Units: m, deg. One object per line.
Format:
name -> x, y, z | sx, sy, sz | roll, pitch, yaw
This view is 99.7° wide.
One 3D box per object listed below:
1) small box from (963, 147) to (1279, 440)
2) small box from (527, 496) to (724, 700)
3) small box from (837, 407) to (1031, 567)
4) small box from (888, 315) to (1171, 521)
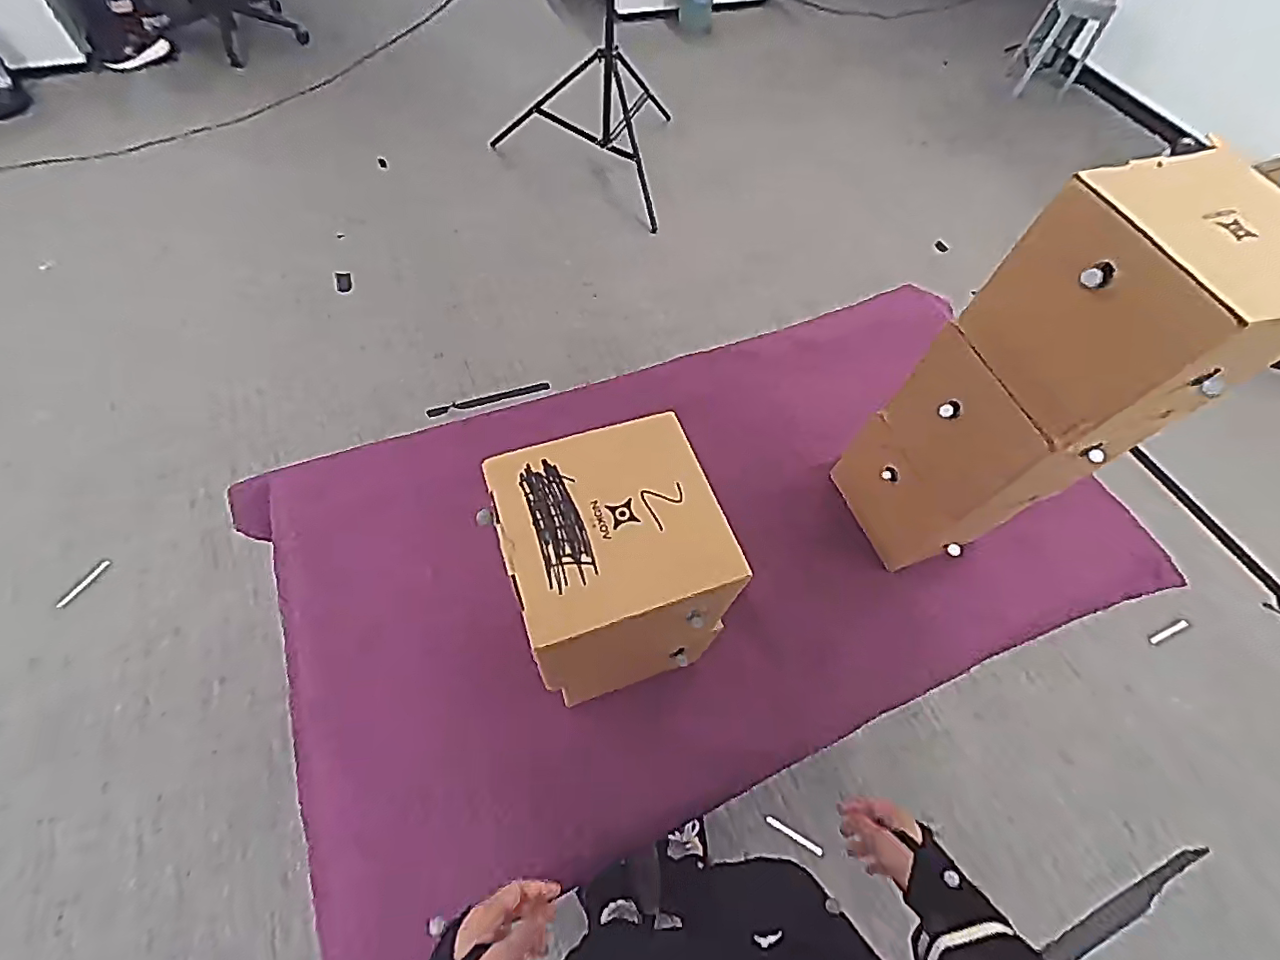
small box -> 0.442, -0.153, 0.479 | 0.168, 0.176, 0.179 | -15, 62, -12
small box -> -0.025, 0.146, 0.646 | 0.179, 0.176, 0.168 | -15, 62, -13
small box -> 0.413, -0.002, 0.768 | 0.168, 0.176, 0.179 | -16, 64, -13
small box -> 0.426, -0.078, 0.623 | 0.168, 0.176, 0.179 | -14, 62, -12
